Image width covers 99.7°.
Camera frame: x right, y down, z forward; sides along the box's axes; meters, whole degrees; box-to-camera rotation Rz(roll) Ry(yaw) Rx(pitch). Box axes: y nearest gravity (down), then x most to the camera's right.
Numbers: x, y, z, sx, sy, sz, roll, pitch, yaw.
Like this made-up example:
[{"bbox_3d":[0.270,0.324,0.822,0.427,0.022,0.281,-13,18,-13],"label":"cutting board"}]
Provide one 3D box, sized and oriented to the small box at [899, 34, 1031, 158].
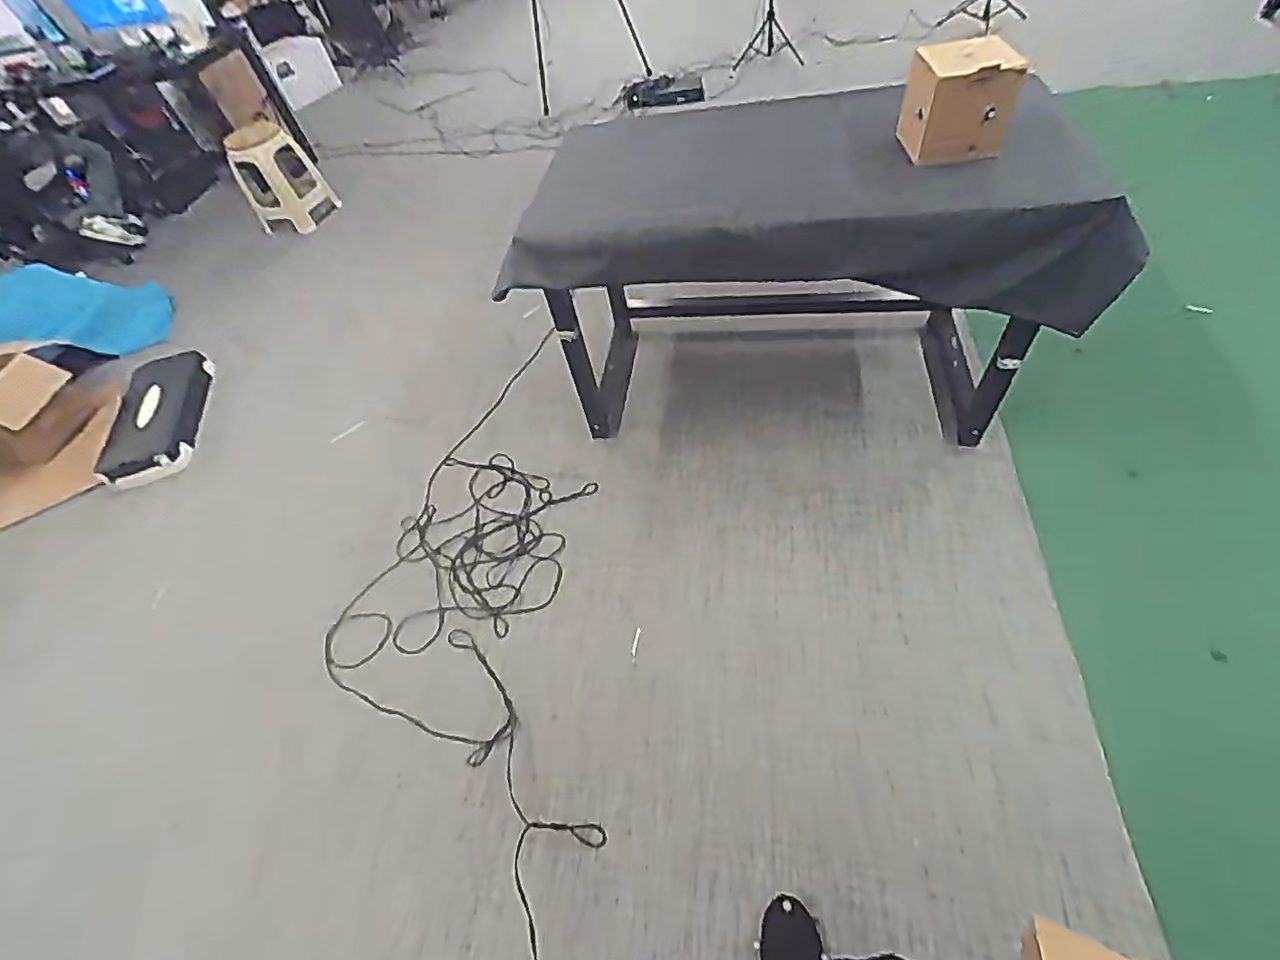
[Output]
[{"bbox_3d":[0.665,-0.795,1.132,0.168,0.176,0.179,-3,52,7],"label":"small box"}]
